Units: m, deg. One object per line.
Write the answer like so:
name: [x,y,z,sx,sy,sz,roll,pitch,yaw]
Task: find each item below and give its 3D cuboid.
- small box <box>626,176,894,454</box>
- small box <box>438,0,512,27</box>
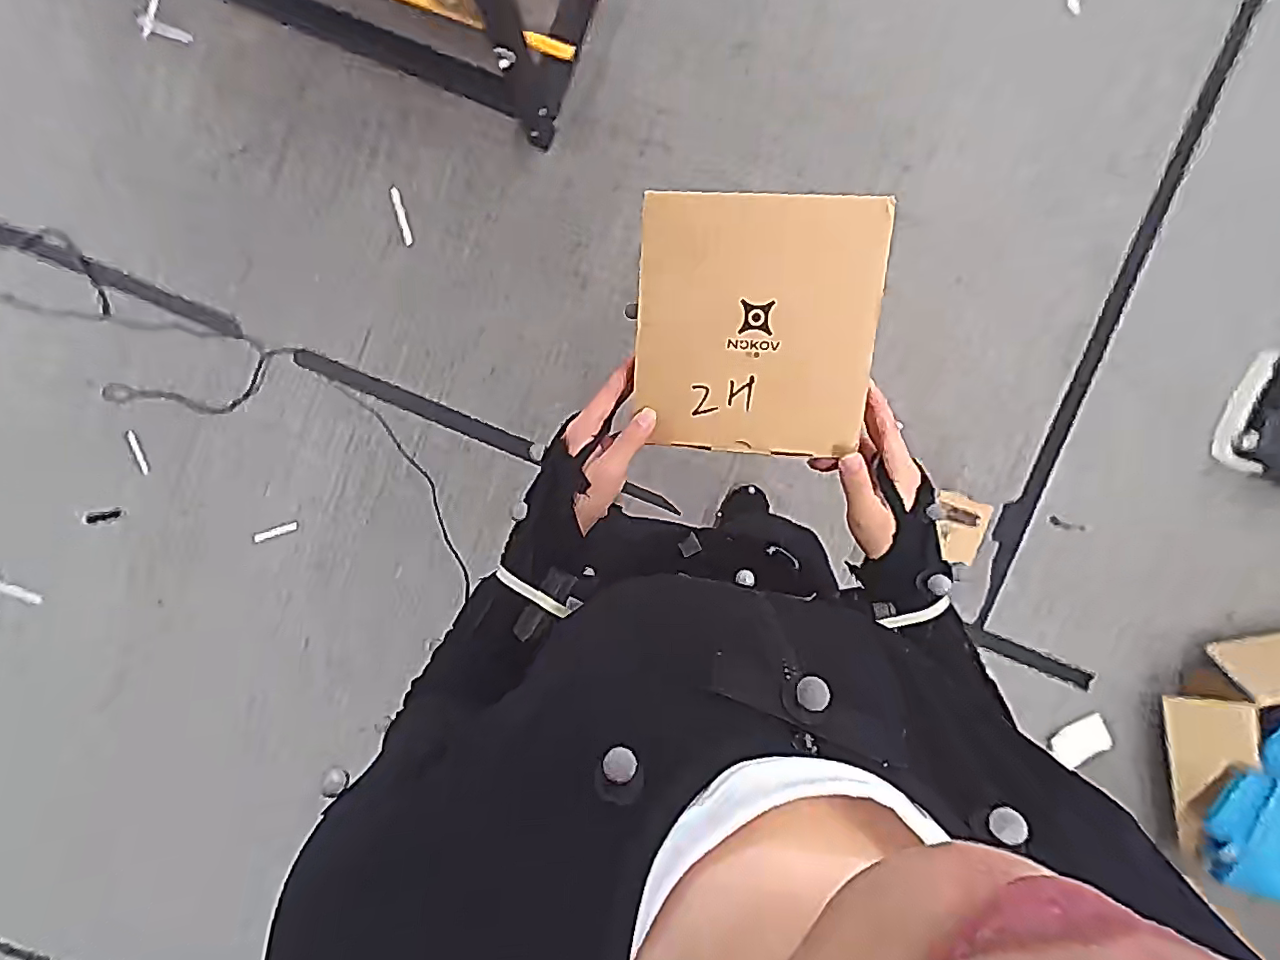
small box: [0.085,-0.126,0.442,0.168,0.176,0.179,5,104,7]
small box: [-0.342,-1.077,1.081,0.168,0.176,0.179,21,96,0]
